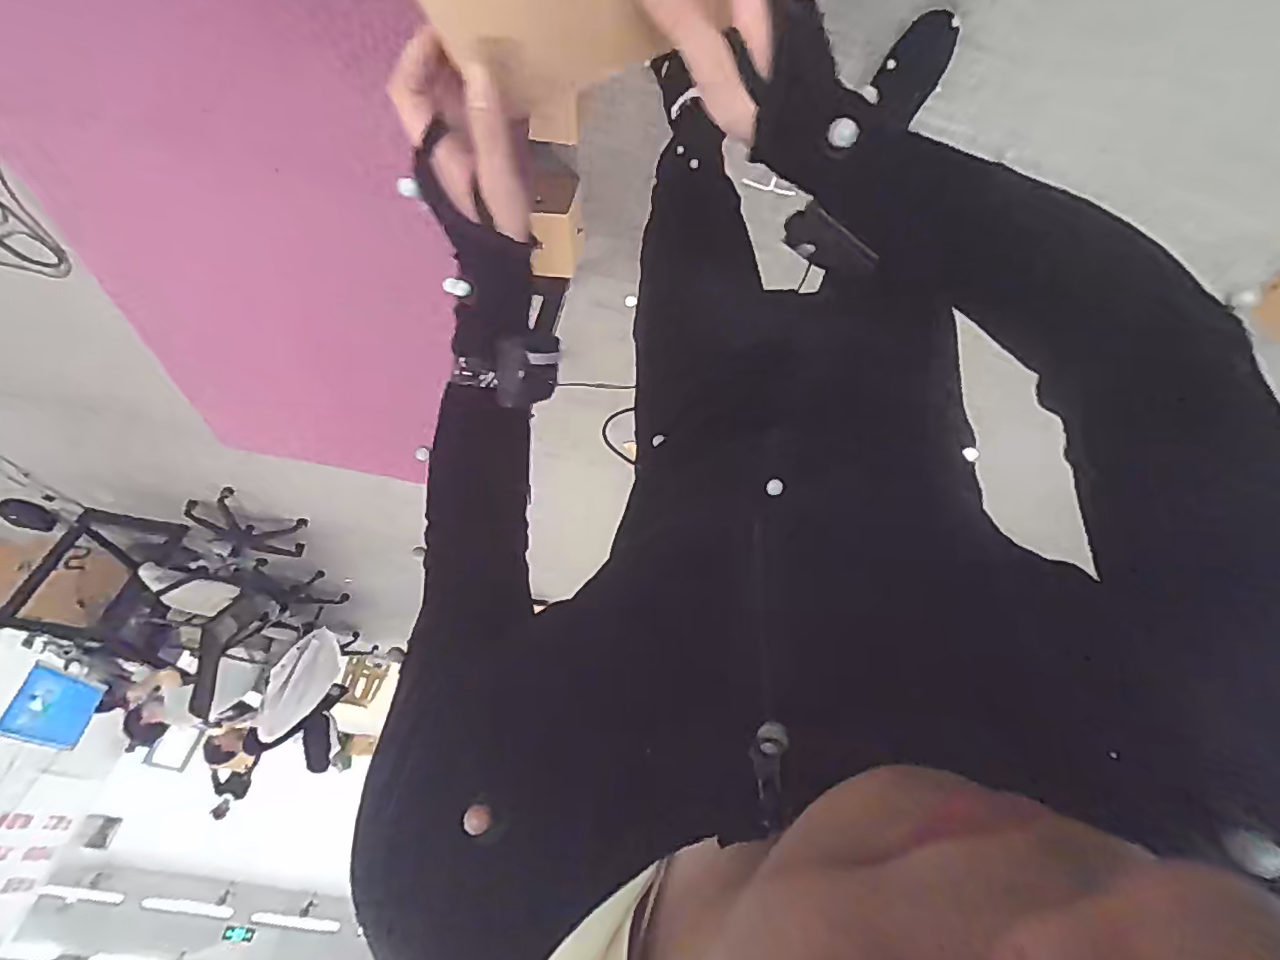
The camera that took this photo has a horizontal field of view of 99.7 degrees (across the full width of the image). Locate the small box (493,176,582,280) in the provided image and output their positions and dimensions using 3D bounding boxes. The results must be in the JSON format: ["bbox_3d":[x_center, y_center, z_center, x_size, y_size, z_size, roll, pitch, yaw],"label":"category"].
[{"bbox_3d":[-0.240,-0.615,1.318,0.179,0.176,0.168,6,145,2],"label":"small box"}]

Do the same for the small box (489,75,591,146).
[{"bbox_3d":[-0.191,-0.795,1.060,0.168,0.176,0.179,8,145,1],"label":"small box"}]

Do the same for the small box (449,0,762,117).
[{"bbox_3d":[-0.041,-0.366,0.306,0.179,0.176,0.168,-15,157,13],"label":"small box"}]
